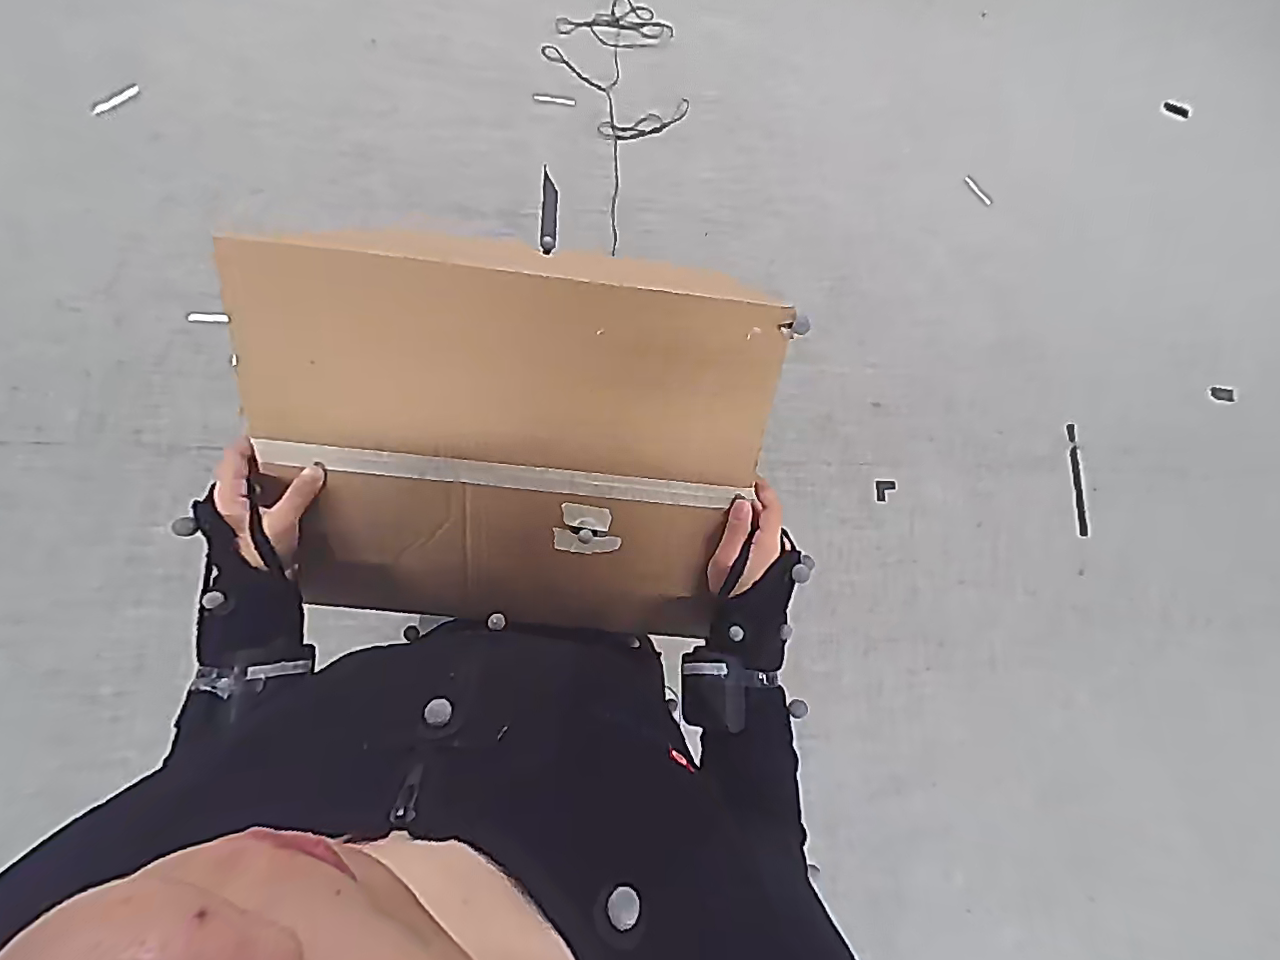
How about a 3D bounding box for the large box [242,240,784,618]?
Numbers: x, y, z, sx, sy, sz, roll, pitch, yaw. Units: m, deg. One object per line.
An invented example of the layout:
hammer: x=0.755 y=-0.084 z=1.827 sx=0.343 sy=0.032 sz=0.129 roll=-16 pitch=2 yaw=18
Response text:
large box: x=-0.108 y=-0.077 z=0.593 sx=0.408 sy=0.320 sz=0.320 roll=5 pitch=117 yaw=-4
